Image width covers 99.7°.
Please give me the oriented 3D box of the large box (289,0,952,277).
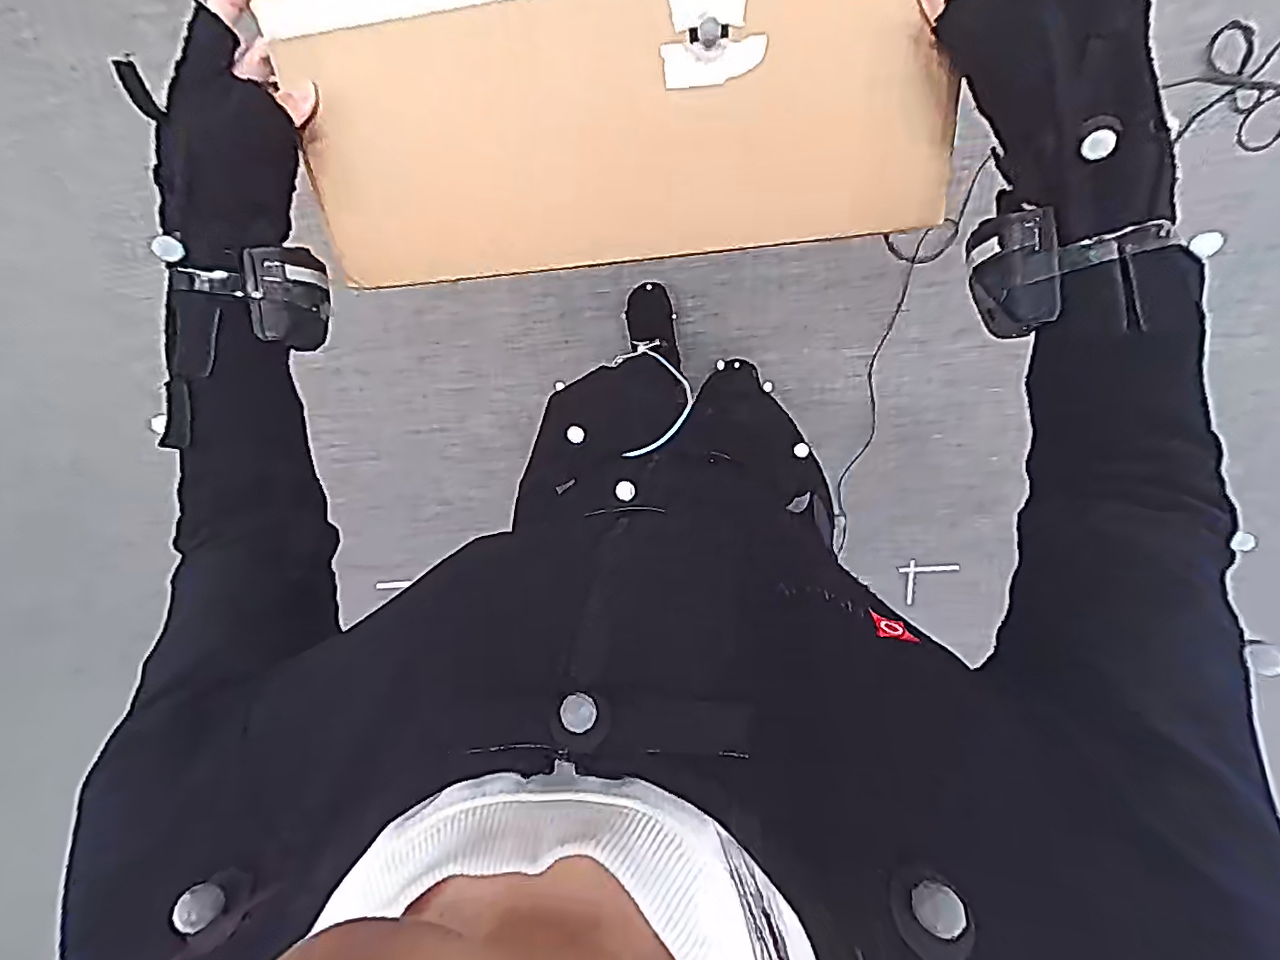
[{"bbox_3d":[-0.010,-0.365,0.447,0.408,0.320,0.320,-3,116,8],"label":"large box"}]
